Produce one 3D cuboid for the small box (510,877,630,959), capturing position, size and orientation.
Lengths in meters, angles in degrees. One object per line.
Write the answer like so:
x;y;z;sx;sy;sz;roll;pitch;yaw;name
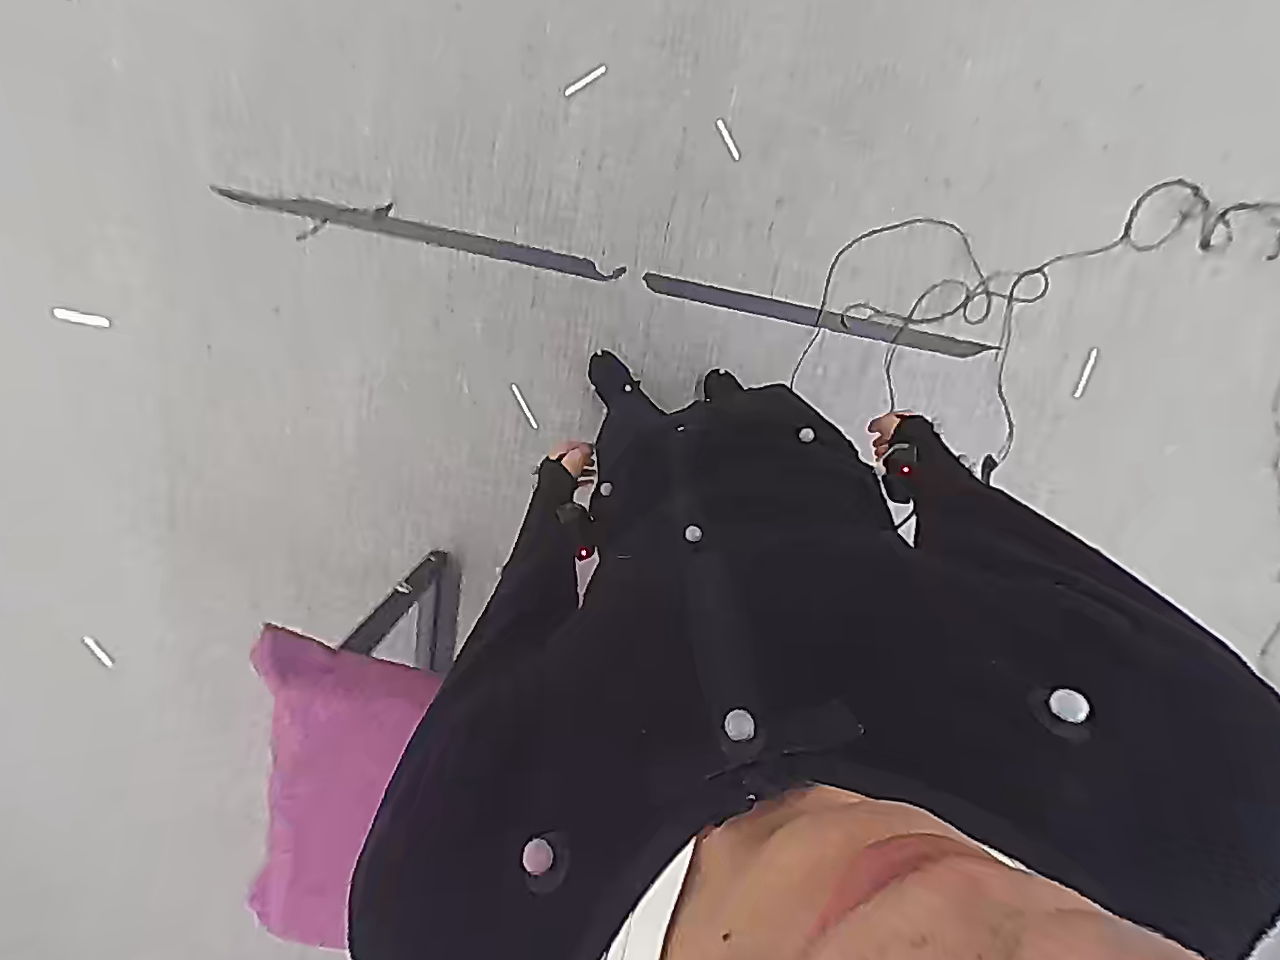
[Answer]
-0.111;0.754;0.832;0.179;0.176;0.168;8;105;-1;small box
